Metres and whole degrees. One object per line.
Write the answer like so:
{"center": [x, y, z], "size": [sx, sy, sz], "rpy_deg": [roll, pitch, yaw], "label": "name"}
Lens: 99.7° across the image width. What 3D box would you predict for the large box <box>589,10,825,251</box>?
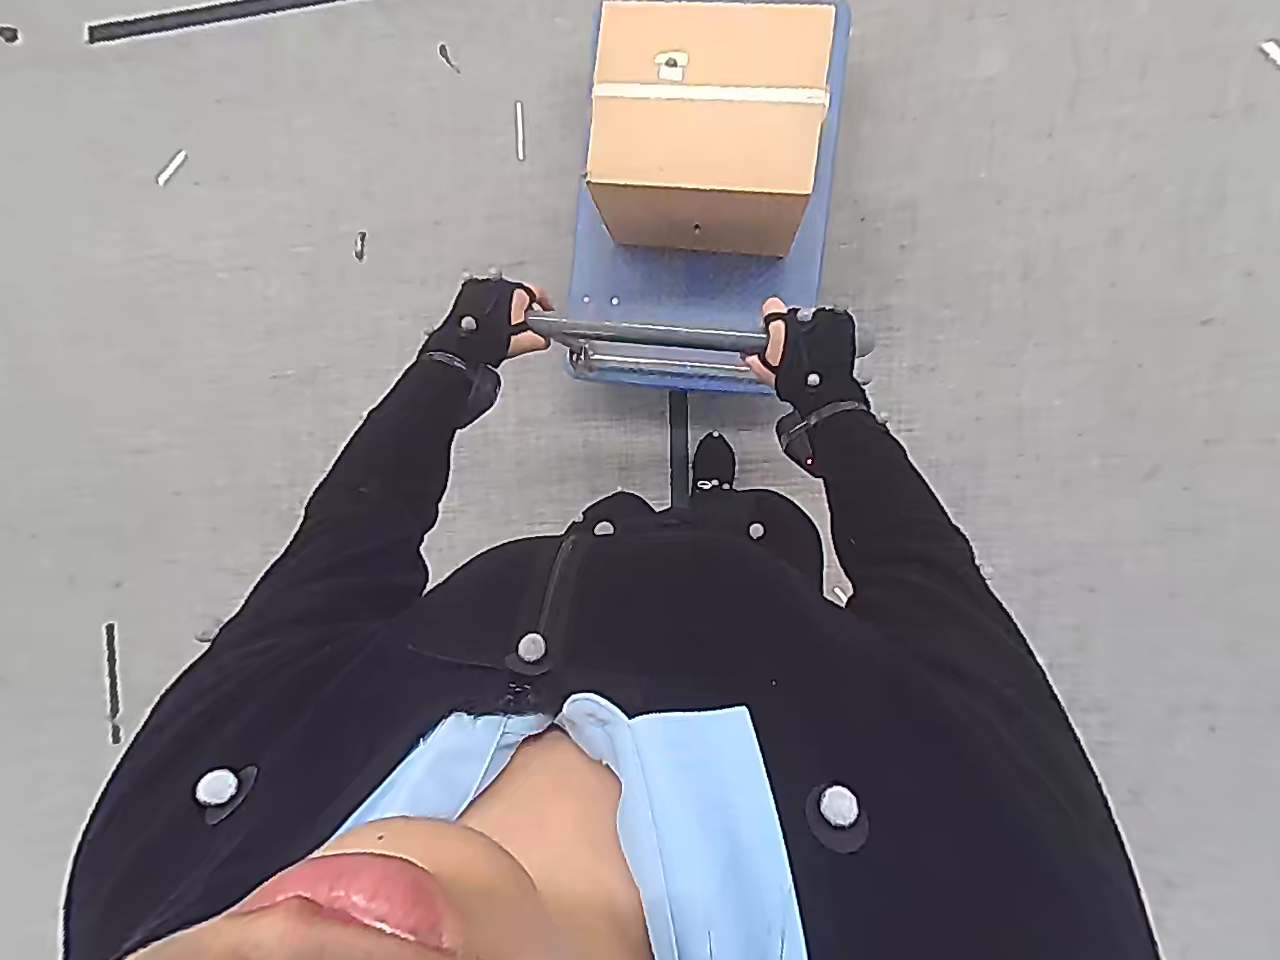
{"center": [0.135, -0.686, 1.114], "size": [0.408, 0.320, 0.320], "rpy_deg": [6, 93, 8], "label": "large box"}
